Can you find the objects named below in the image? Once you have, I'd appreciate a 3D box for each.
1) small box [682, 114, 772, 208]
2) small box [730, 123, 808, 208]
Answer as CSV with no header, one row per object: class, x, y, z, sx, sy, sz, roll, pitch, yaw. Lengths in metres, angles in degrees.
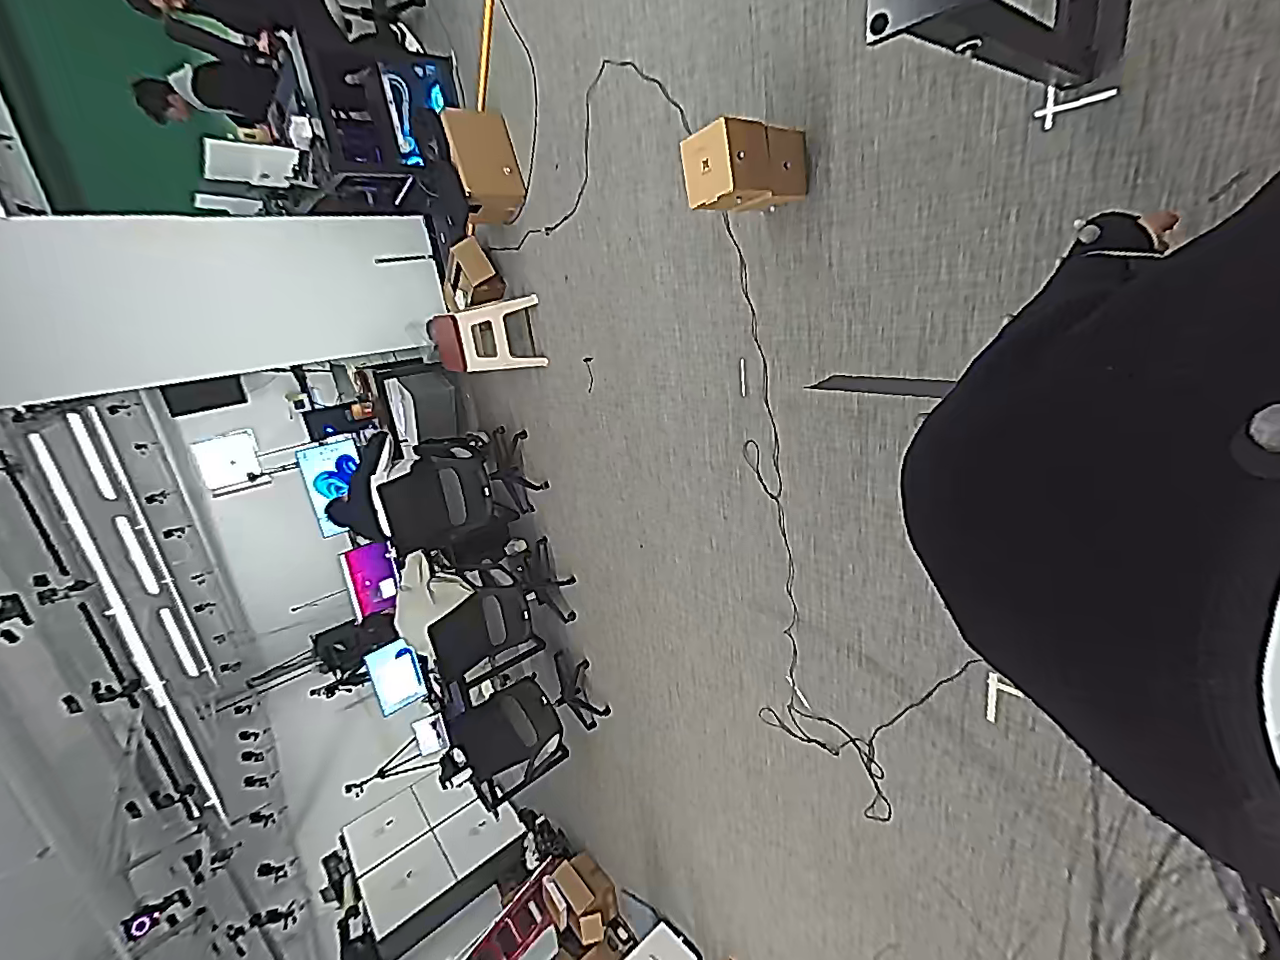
small box,0.243,-0.863,1.478,0.168,0.176,0.179,6,111,51
small box,0.370,-0.905,1.571,0.168,0.176,0.179,11,117,51
